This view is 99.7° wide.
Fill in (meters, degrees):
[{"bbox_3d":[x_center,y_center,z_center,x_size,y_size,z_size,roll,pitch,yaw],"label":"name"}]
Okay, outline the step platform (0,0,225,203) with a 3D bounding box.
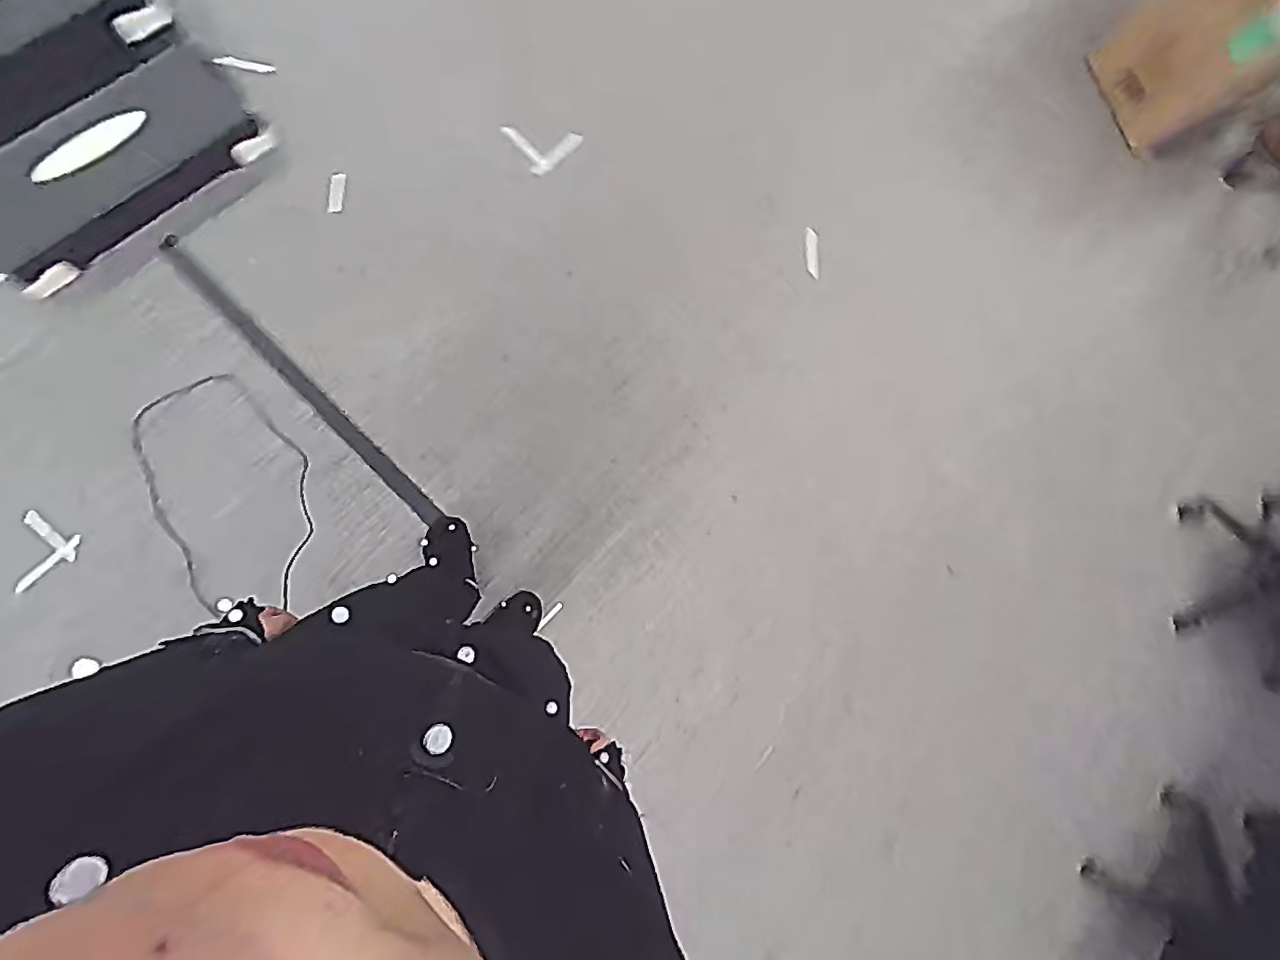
[{"bbox_3d":[-1.377,-0.930,1.233,0.684,0.204,0.286,-40,91,-14],"label":"step platform"}]
